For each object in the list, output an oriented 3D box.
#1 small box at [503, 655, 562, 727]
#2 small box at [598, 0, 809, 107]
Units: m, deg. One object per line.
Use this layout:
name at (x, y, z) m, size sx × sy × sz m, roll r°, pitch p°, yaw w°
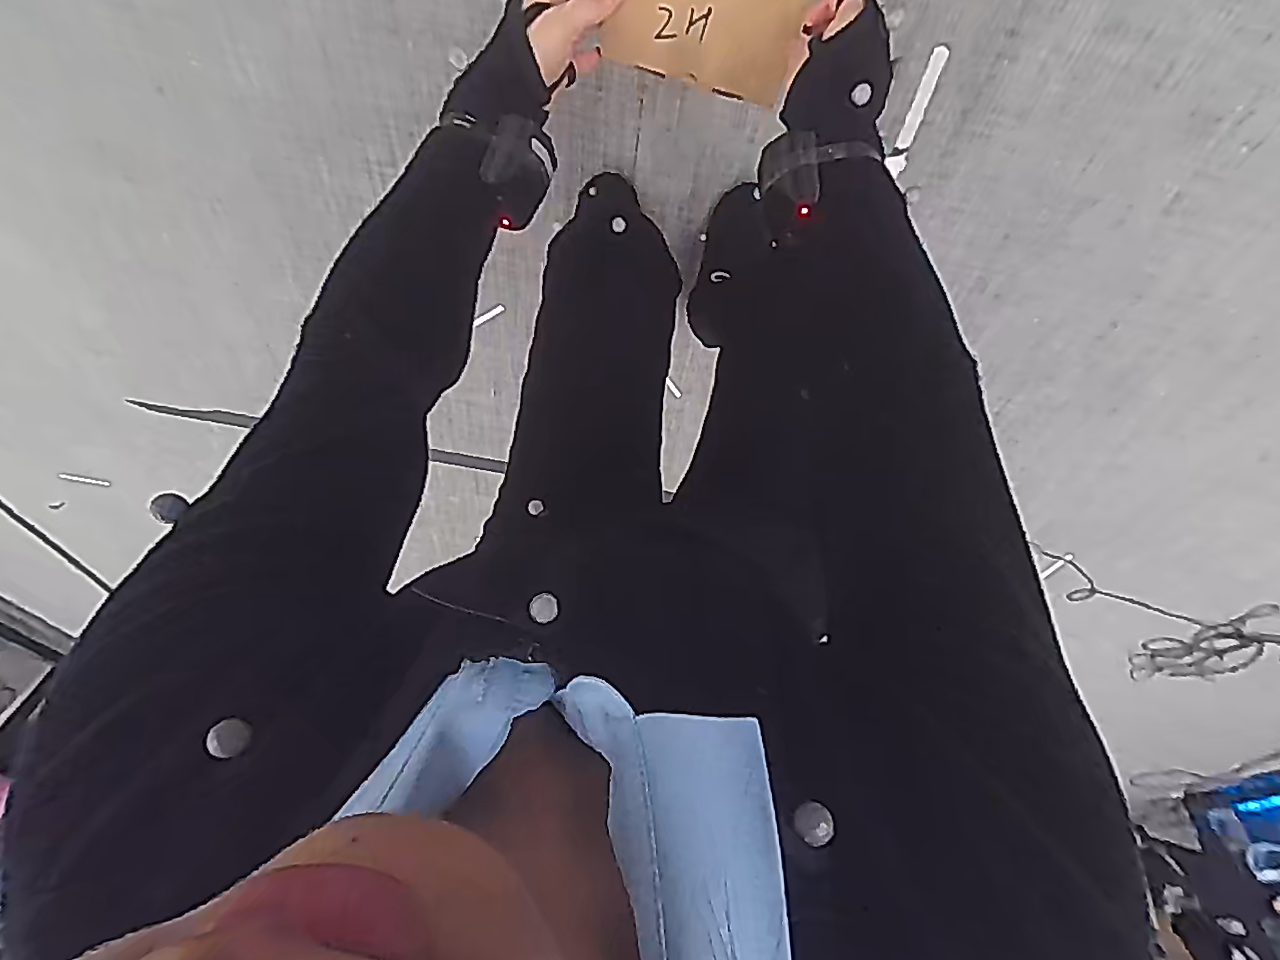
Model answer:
small box at (-0.365, 0.728, 1.867) m, size 0.168 × 0.176 × 0.179 m, roll 9°, pitch 138°, yaw -1°
small box at (0.065, -0.473, 0.475) m, size 0.168 × 0.176 × 0.179 m, roll 12°, pitch 139°, yaw -7°
